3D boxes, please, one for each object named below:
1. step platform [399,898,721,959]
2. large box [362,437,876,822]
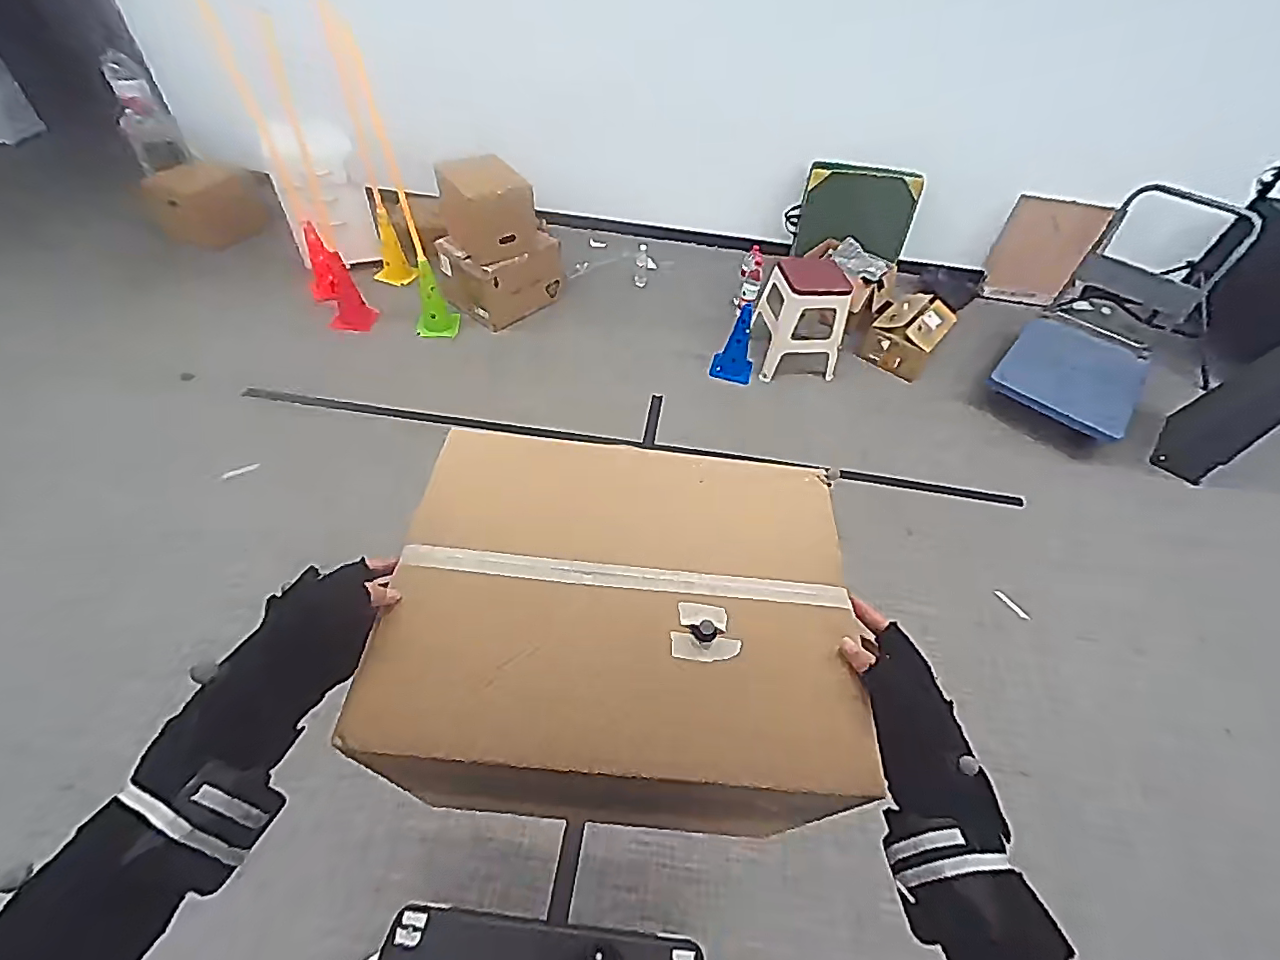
[{"bbox_3d":[-0.167,1.081,1.120,0.684,0.204,0.286,8,49,-1],"label":"step platform"},{"bbox_3d":[-0.021,0.182,0.616,0.408,0.320,0.320,6,53,-2],"label":"large box"}]
